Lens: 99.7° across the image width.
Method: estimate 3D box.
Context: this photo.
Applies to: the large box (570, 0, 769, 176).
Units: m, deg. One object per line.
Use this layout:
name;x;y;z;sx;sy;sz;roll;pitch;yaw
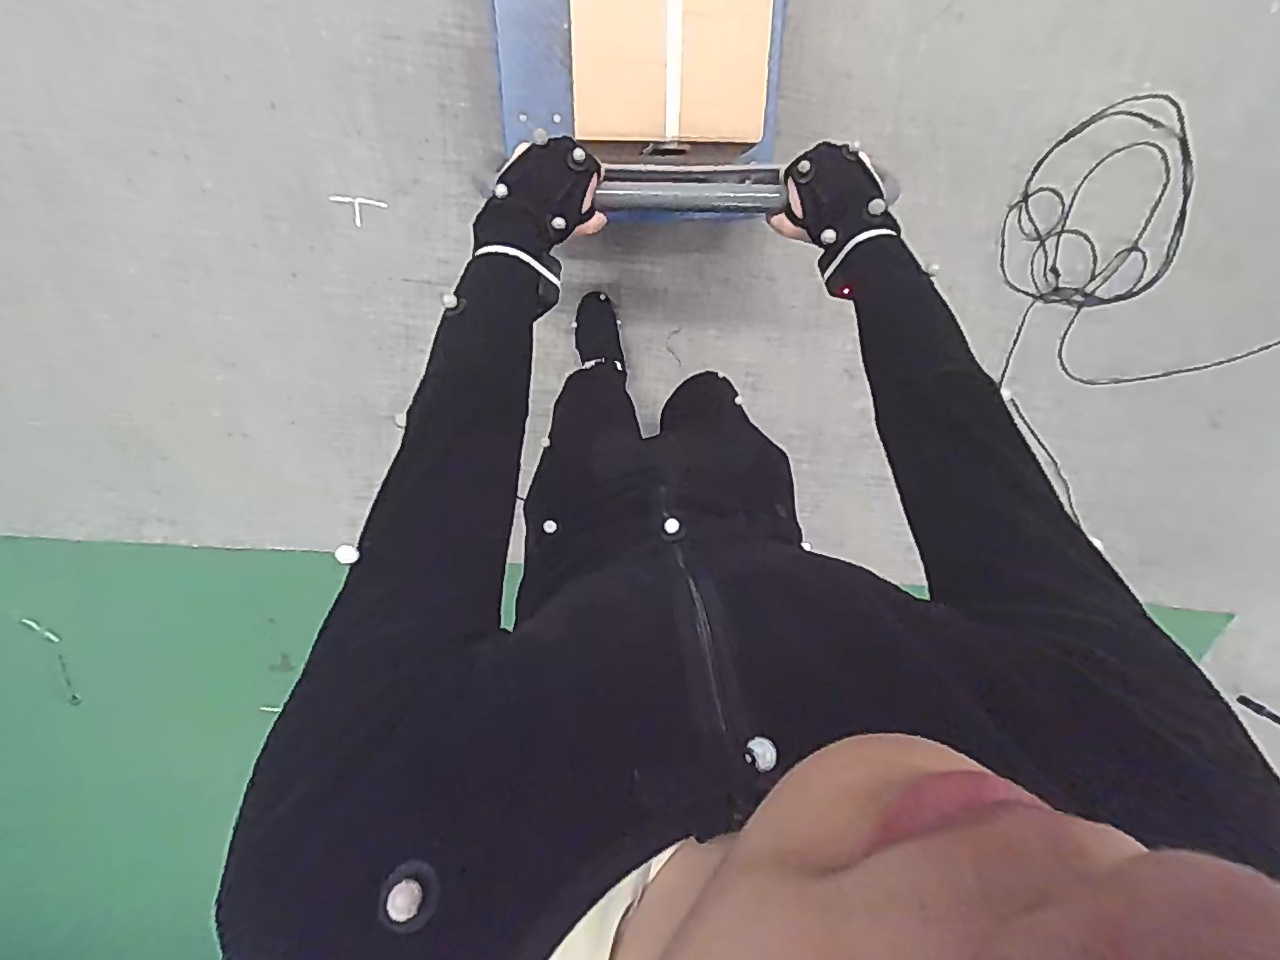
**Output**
large box;0.038;-0.792;0.963;0.320;0.320;0.408;-2;111;-5
